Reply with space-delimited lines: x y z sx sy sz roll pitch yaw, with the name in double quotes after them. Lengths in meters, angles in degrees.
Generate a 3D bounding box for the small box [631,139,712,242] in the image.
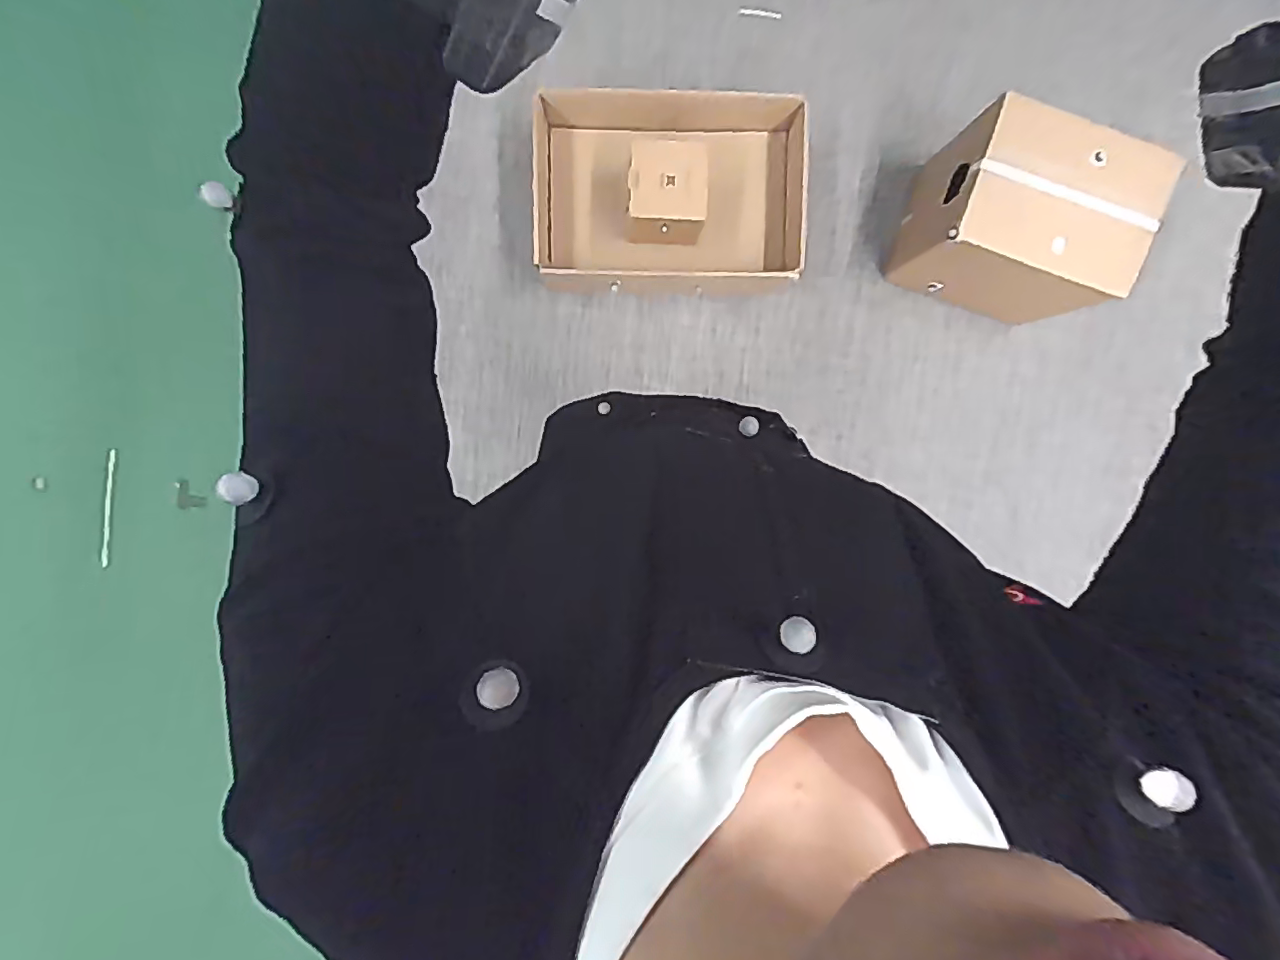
0.068 -0.674 1.276 0.179 0.176 0.168 1 96 -3 "small box"
